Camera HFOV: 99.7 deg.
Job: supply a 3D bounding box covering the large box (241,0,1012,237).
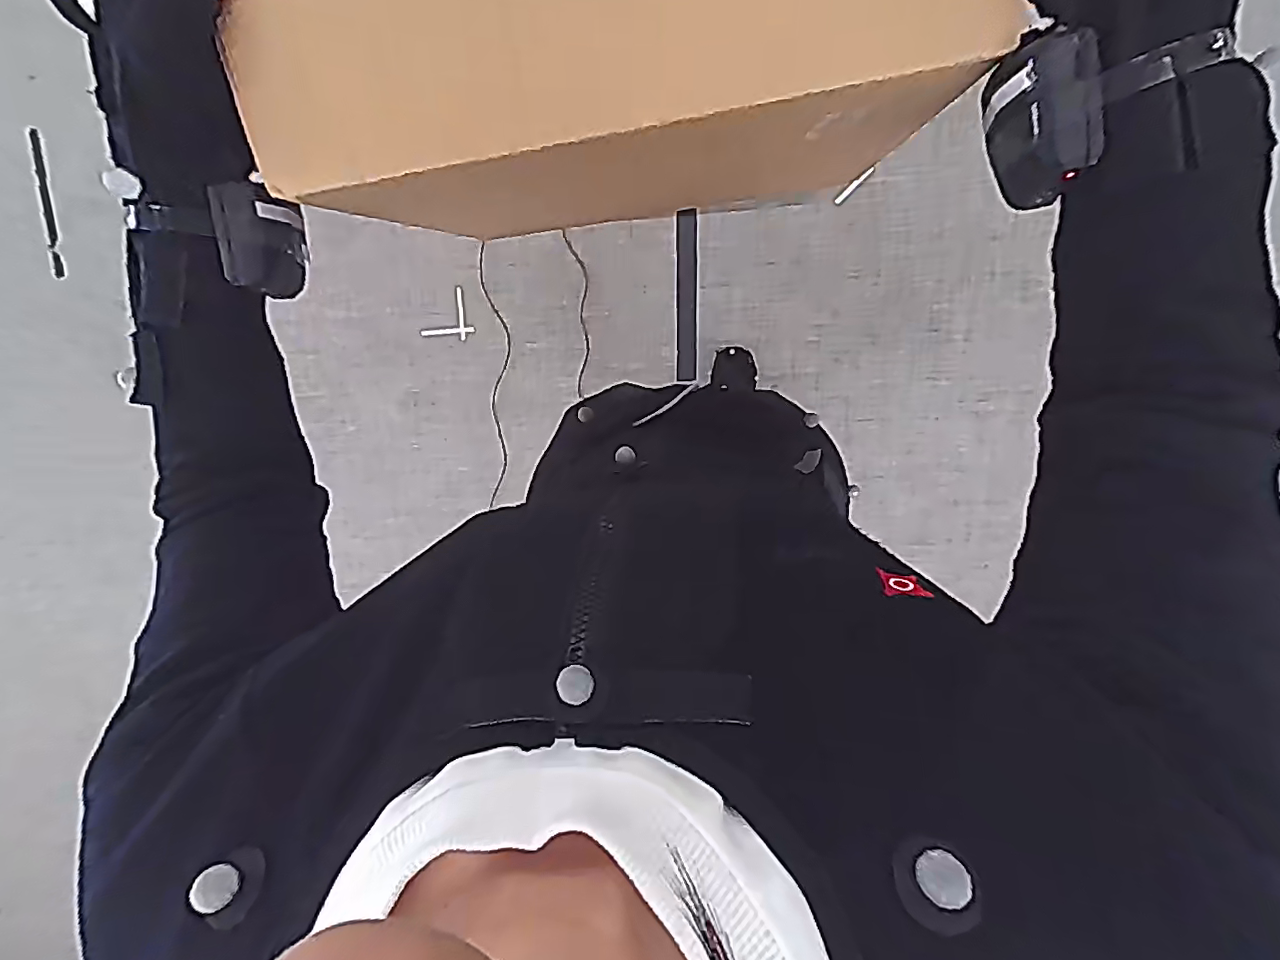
[{"bbox_3d":[-0.018,-0.389,0.392,0.408,0.320,0.320,-6,109,9],"label":"large box"}]
